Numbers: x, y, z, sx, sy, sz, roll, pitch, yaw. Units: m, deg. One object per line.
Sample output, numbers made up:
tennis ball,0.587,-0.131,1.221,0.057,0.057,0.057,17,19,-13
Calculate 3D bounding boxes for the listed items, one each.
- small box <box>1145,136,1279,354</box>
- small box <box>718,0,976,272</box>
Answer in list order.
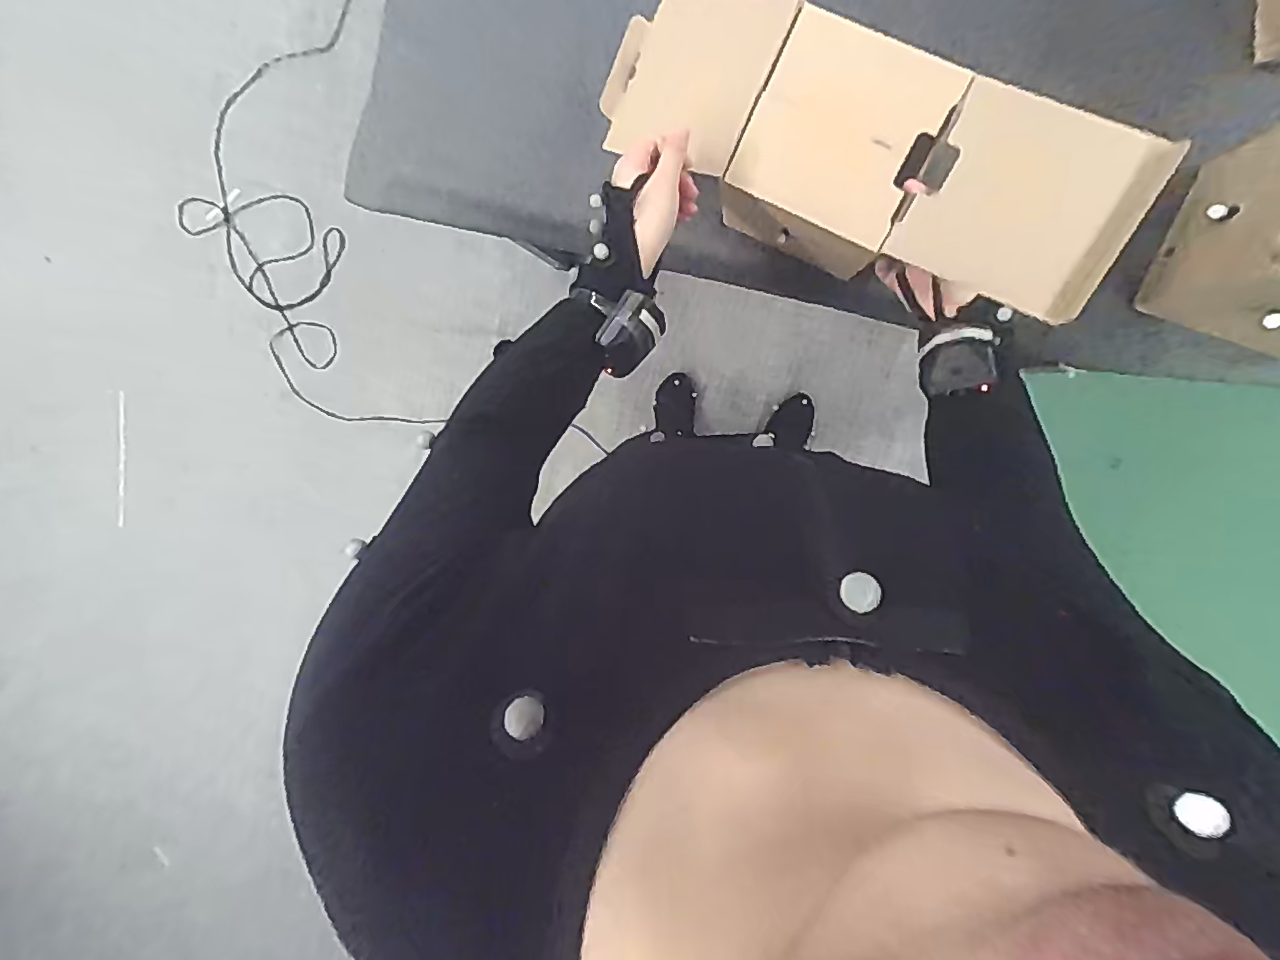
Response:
small box,0.665,-0.231,0.524,0.179,0.176,0.168,22,100,5
small box,0.202,-0.341,0.578,0.179,0.176,0.168,29,105,6
